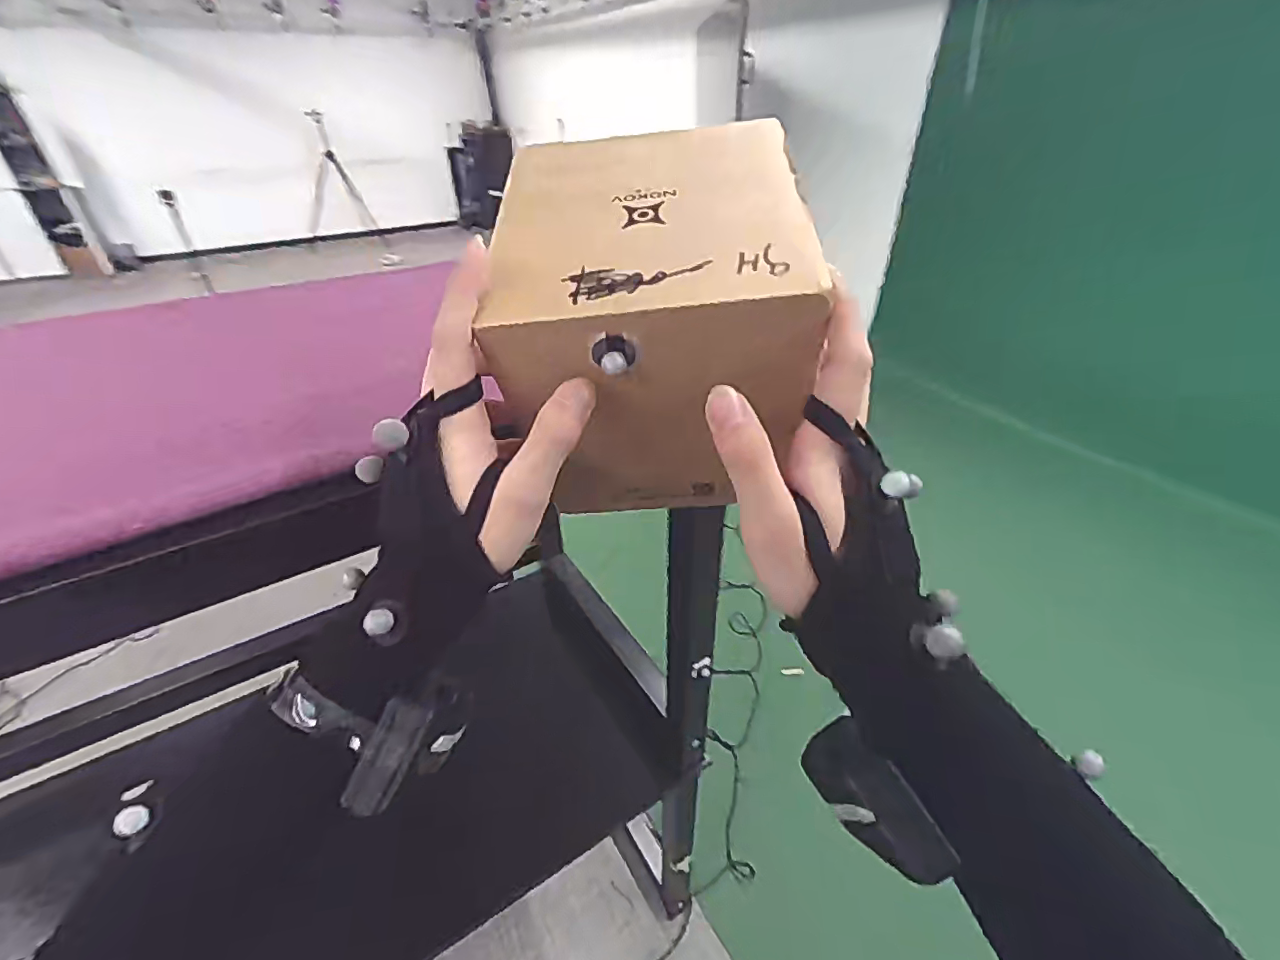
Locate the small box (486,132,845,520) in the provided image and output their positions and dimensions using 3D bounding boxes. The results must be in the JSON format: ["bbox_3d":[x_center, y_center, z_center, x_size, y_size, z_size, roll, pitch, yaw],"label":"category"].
[{"bbox_3d":[0.021,-0.092,0.354,0.168,0.176,0.179,-4,54,7],"label":"small box"}]
